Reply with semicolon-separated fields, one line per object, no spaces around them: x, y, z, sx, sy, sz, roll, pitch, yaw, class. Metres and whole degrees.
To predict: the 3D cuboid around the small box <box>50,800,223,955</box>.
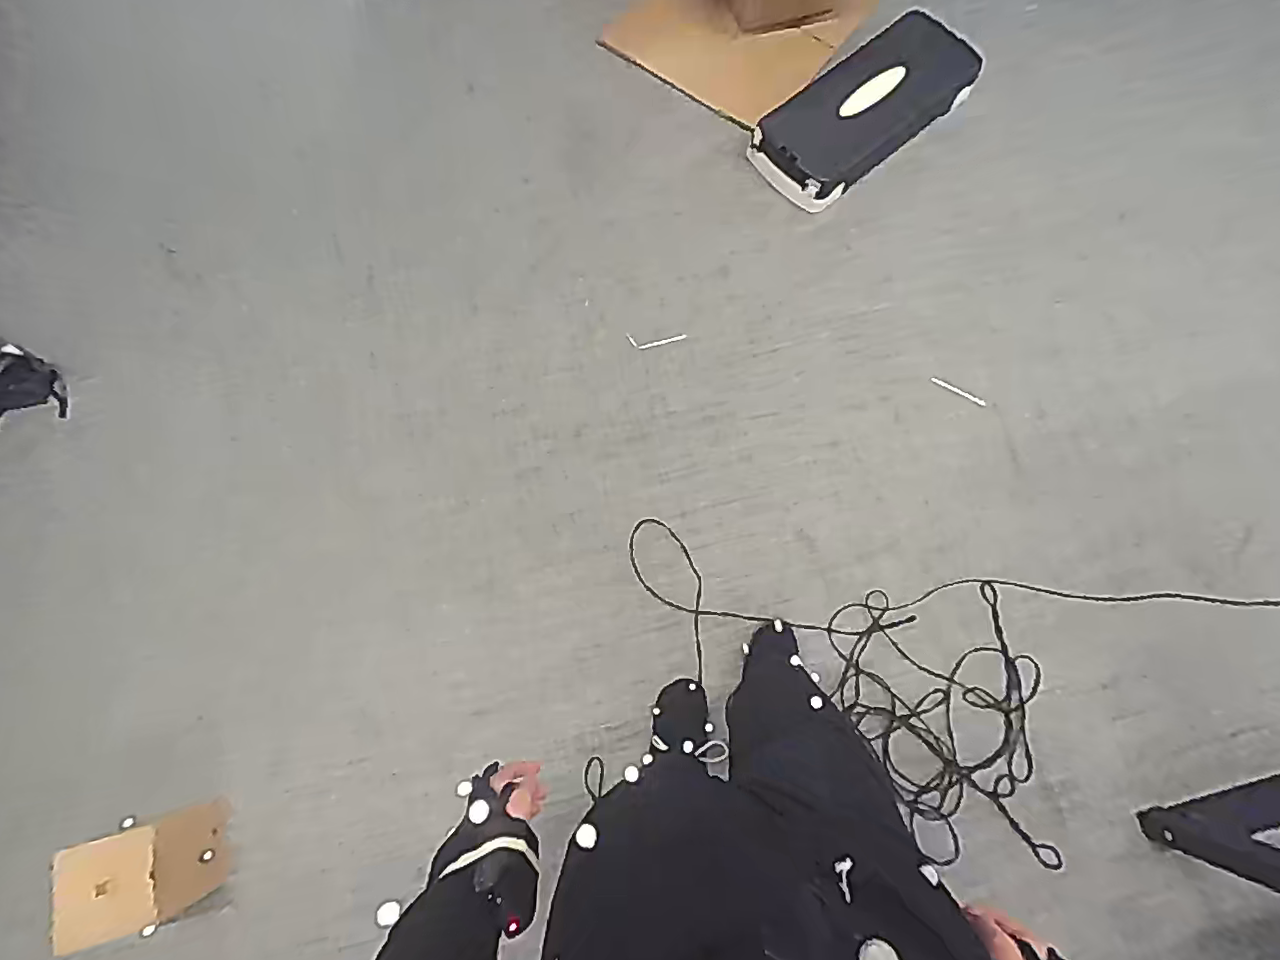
-0.940;0.737;1.024;0.179;0.176;0.168;-14;75;-4;small box
